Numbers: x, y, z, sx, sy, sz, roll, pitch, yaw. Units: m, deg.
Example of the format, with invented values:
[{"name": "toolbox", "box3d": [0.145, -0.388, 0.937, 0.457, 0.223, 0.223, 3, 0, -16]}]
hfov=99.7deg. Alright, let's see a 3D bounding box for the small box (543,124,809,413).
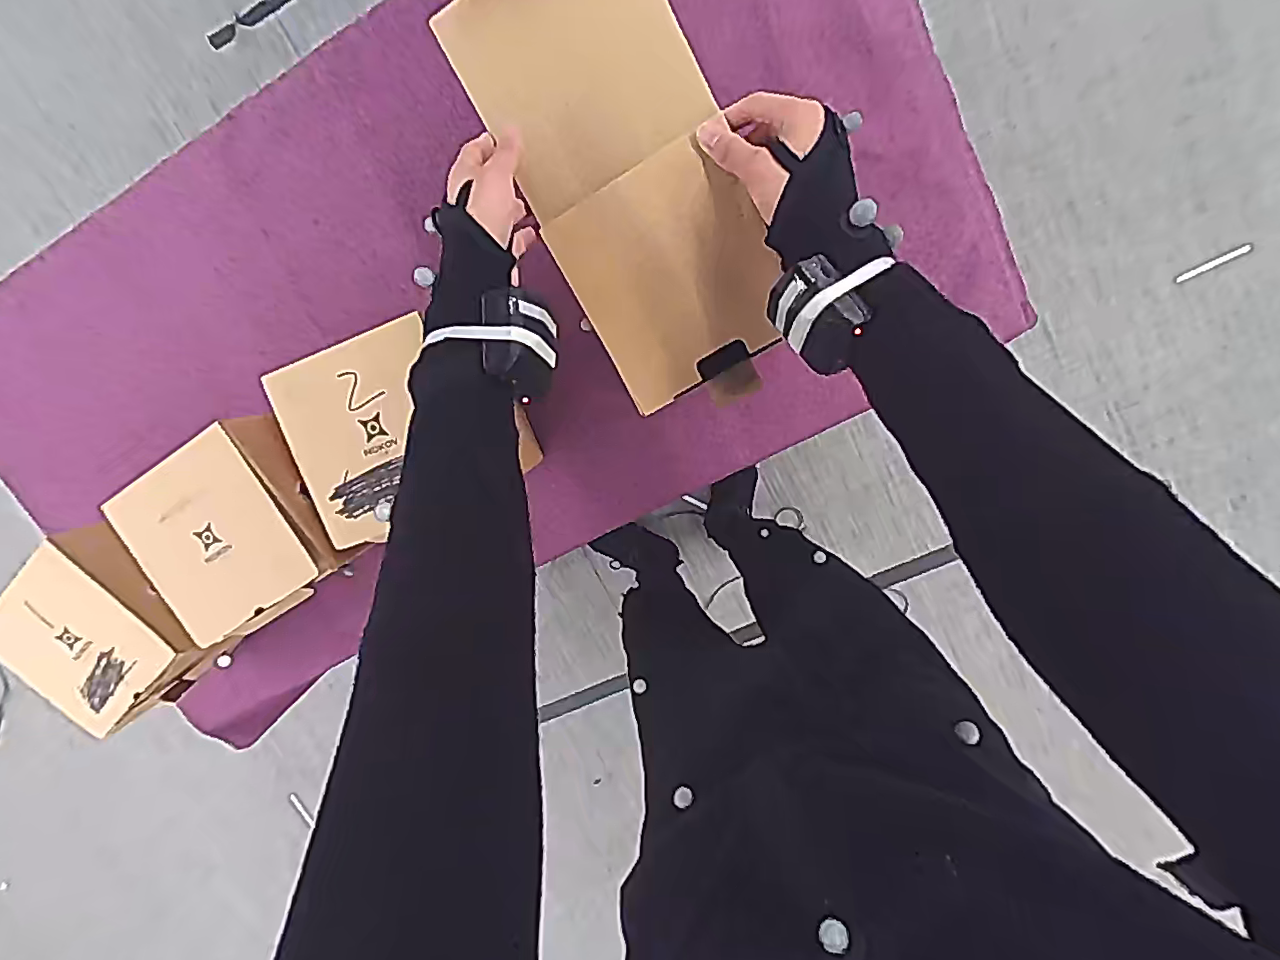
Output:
[{"name": "small box", "box3d": [0.035, -0.183, 0.519, 0.168, 0.176, 0.179, -27, 100, 11]}]
